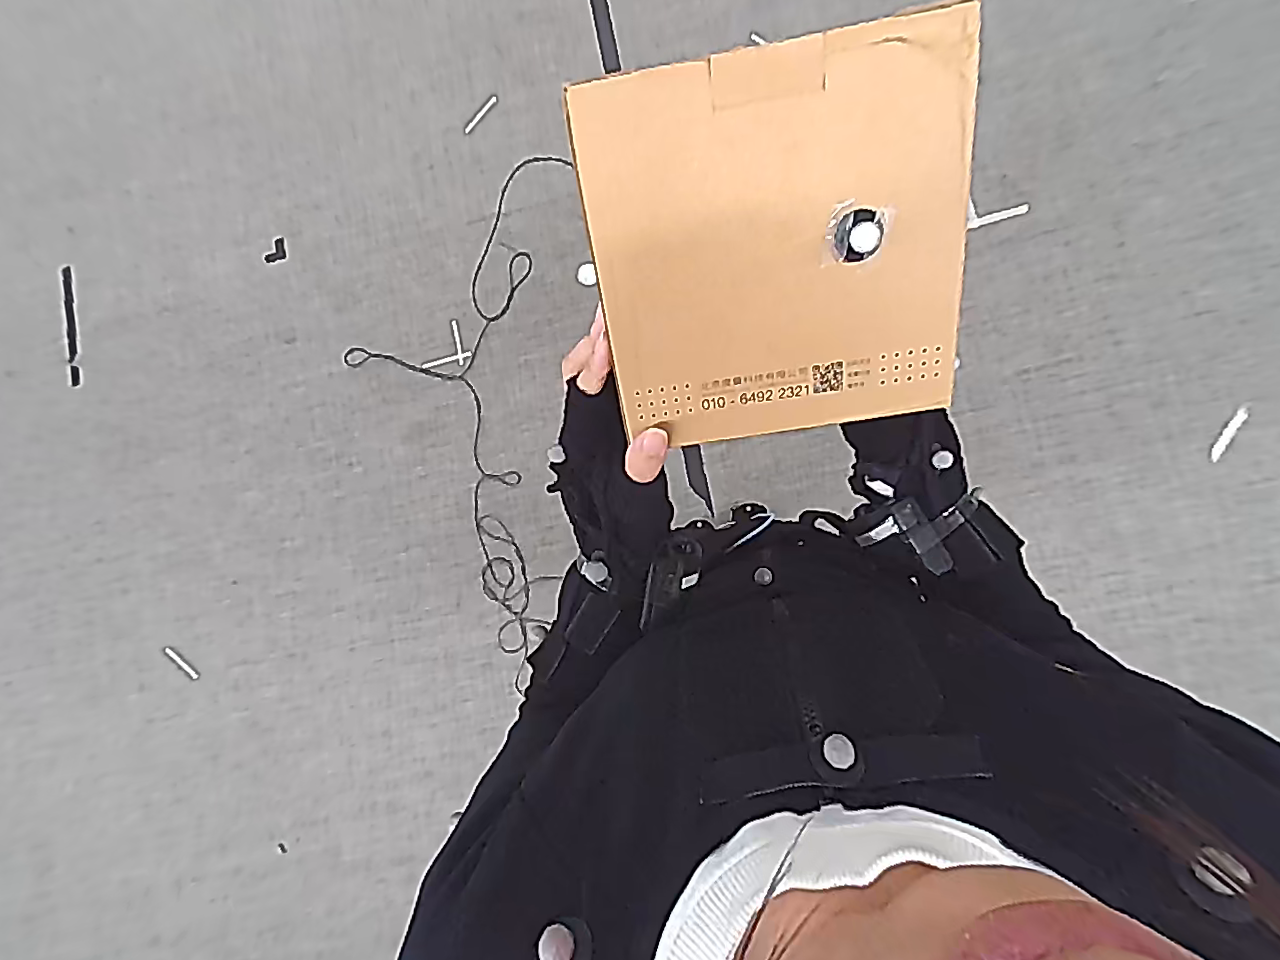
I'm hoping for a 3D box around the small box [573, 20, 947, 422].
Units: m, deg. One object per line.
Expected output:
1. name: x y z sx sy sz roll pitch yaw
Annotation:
1. small box: 0.067 -0.141 0.340 0.168 0.179 0.176 -7 115 7
